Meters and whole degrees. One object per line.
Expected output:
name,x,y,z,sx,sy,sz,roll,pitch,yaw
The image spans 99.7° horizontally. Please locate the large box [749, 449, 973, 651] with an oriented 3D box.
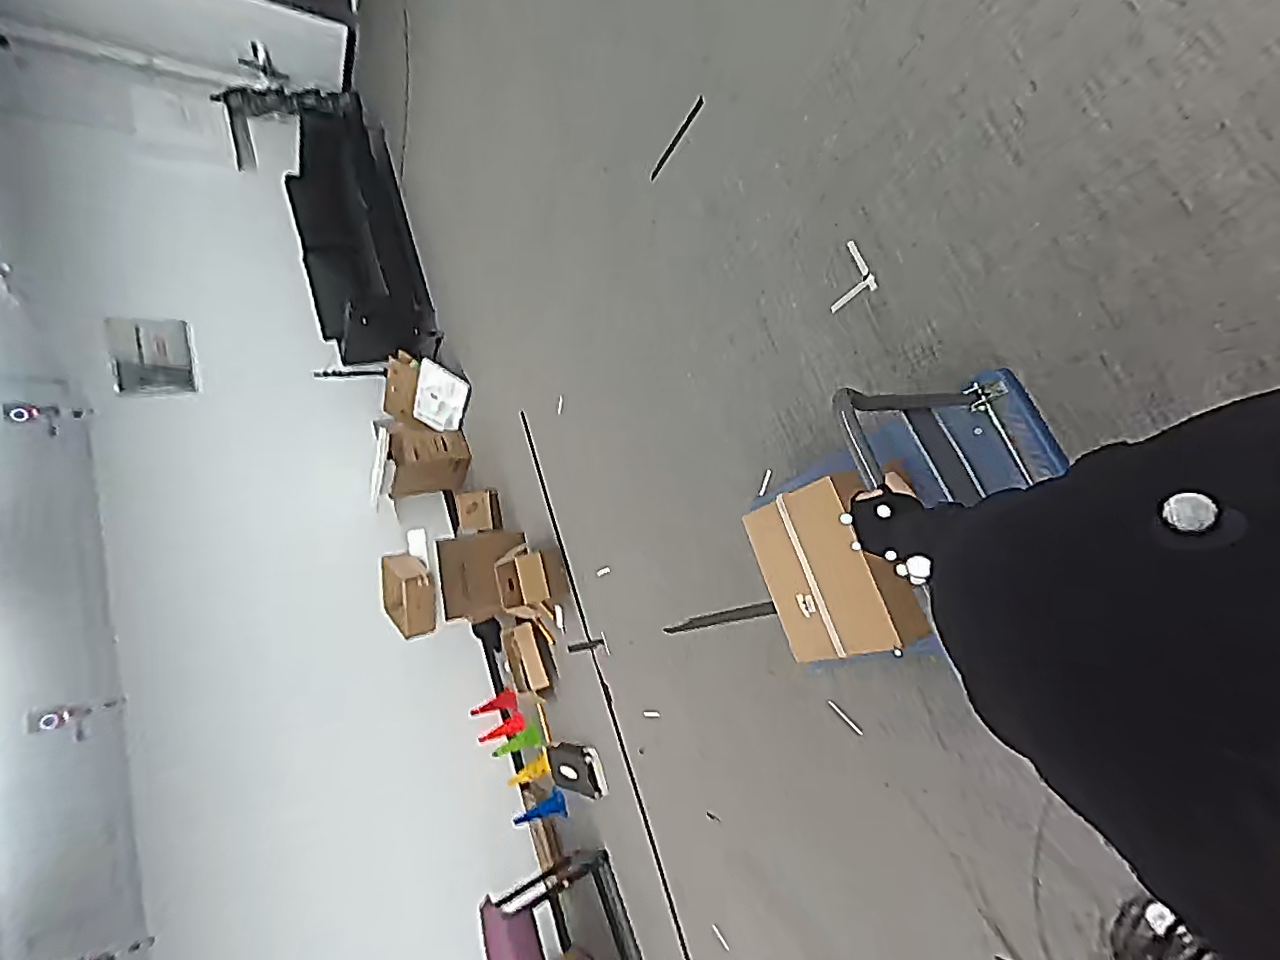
large box,0.555,0.175,1.384,0.320,0.320,0.408,-36,71,53
